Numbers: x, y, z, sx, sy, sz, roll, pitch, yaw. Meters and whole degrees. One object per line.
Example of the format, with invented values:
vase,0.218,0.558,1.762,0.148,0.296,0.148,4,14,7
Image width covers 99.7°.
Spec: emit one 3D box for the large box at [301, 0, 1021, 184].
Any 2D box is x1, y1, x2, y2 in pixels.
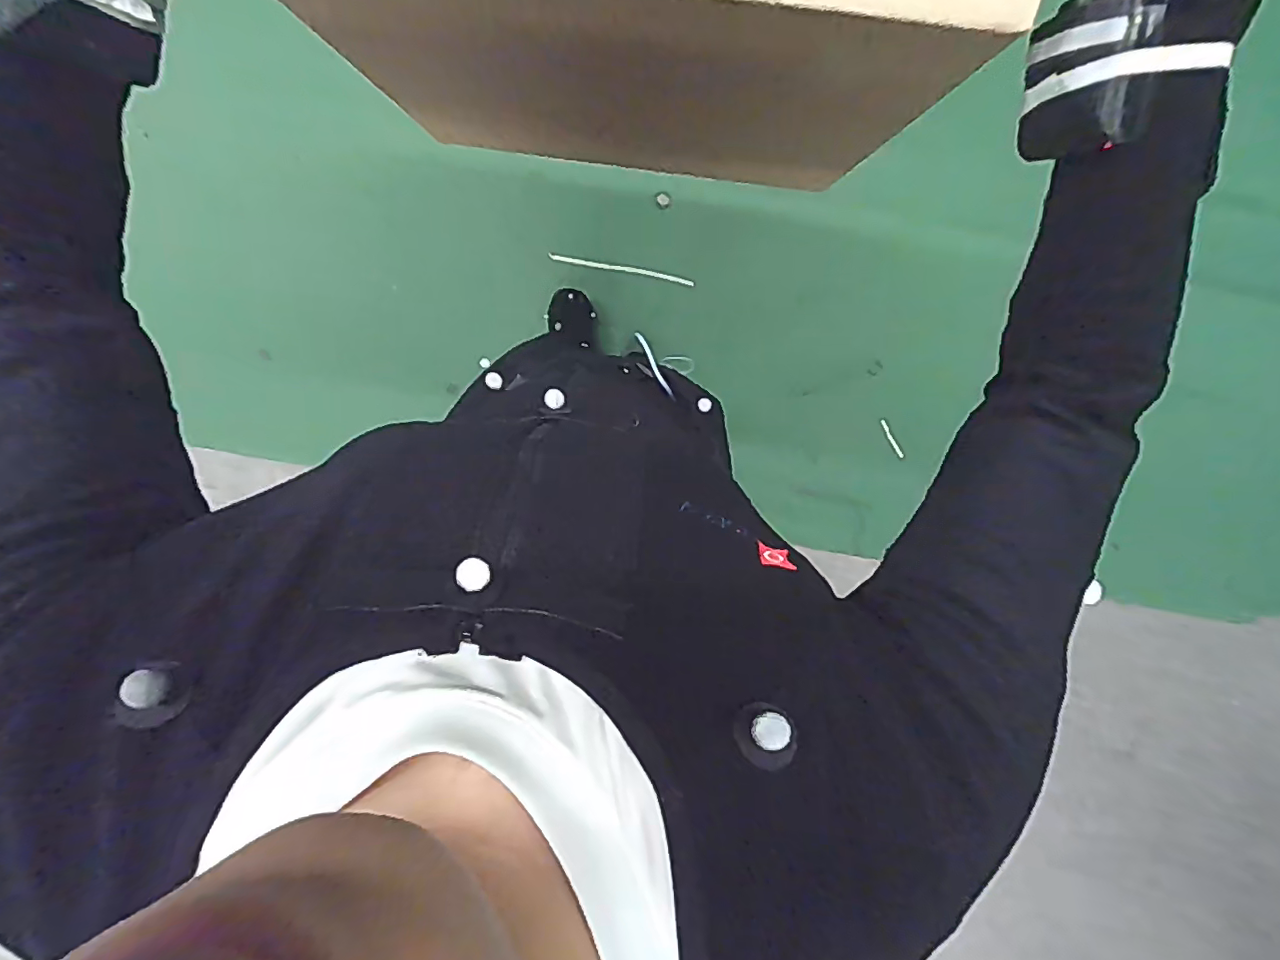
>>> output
large box,0.009,-0.431,0.377,0.408,0.320,0.320,6,106,-1
